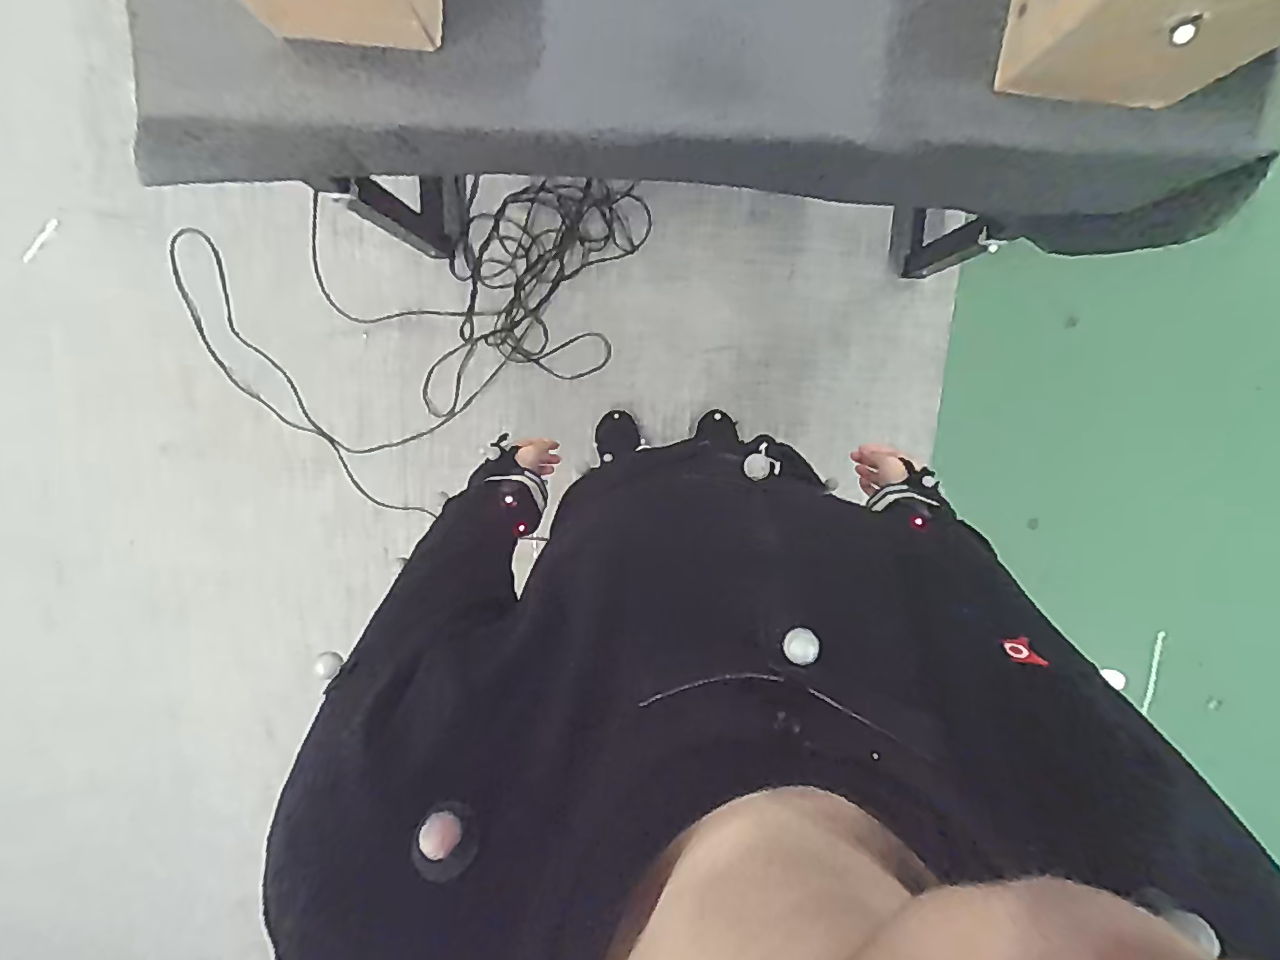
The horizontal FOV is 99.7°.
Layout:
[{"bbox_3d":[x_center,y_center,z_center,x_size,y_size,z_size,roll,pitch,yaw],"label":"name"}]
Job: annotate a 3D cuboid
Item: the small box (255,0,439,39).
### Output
[{"bbox_3d":[-0.288,-0.527,0.467,0.179,0.176,0.168,5,99,0],"label":"small box"}]
